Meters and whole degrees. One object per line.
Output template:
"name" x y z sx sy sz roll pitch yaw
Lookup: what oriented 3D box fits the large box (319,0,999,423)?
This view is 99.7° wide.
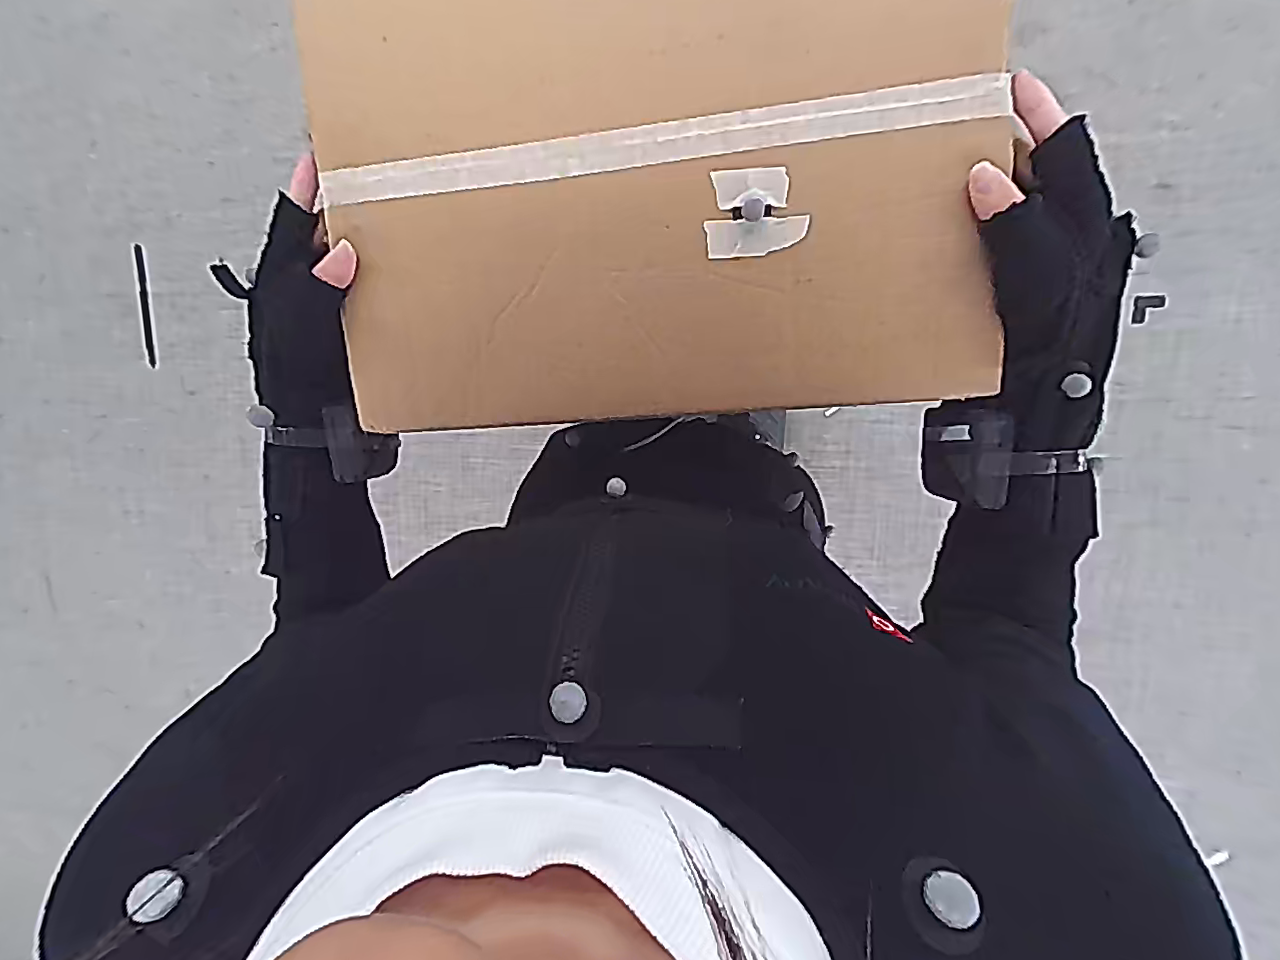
"large box" 0.020 -0.228 0.475 0.408 0.320 0.320 -3 100 8
